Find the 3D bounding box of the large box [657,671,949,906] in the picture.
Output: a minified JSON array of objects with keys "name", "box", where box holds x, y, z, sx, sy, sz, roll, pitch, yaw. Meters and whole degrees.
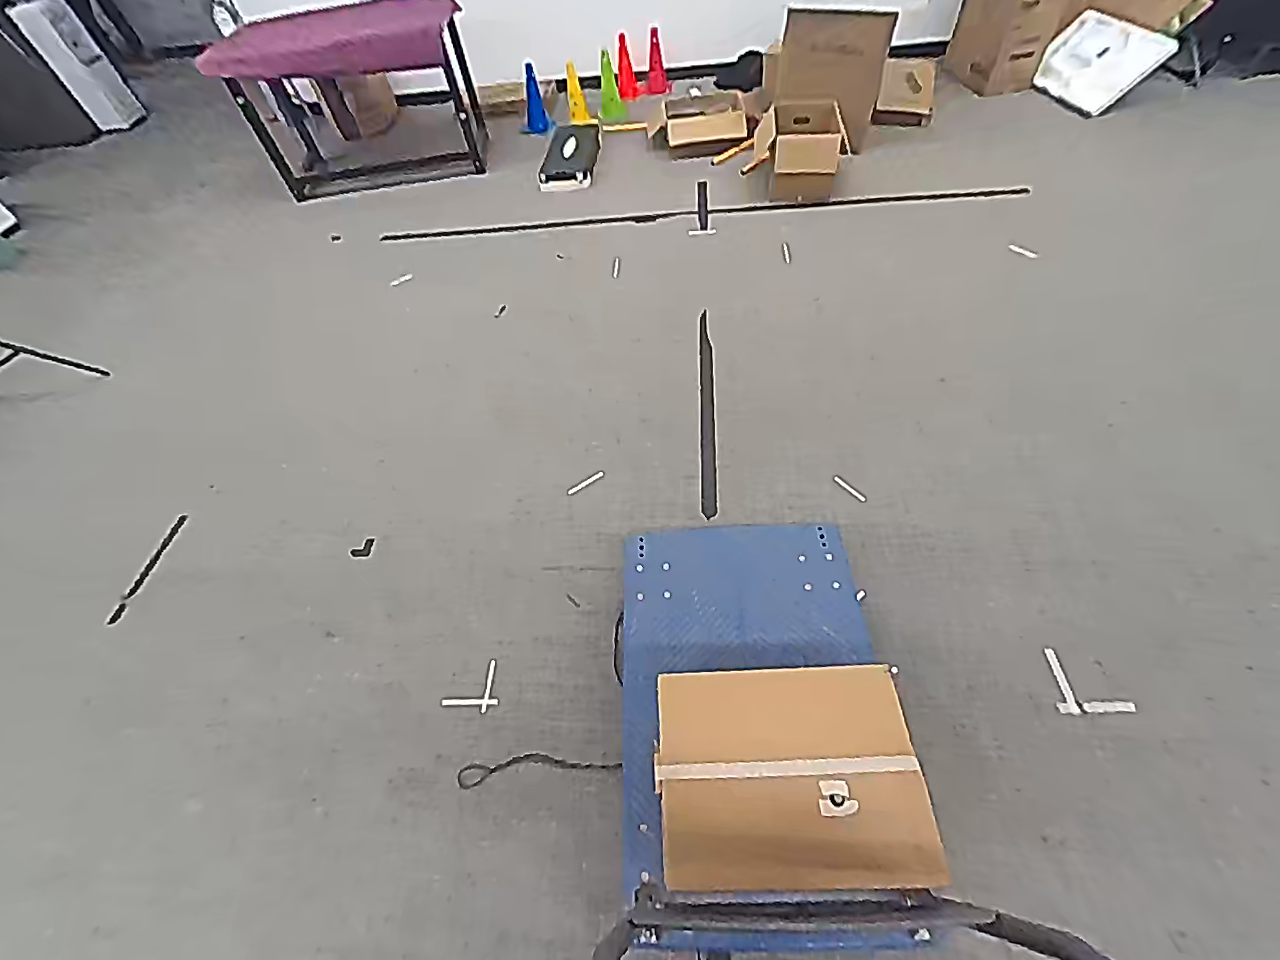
[{"name":"large box","box":[0.243,0.555,0.969,0.408,0.320,0.320,-4,54,3]}]
